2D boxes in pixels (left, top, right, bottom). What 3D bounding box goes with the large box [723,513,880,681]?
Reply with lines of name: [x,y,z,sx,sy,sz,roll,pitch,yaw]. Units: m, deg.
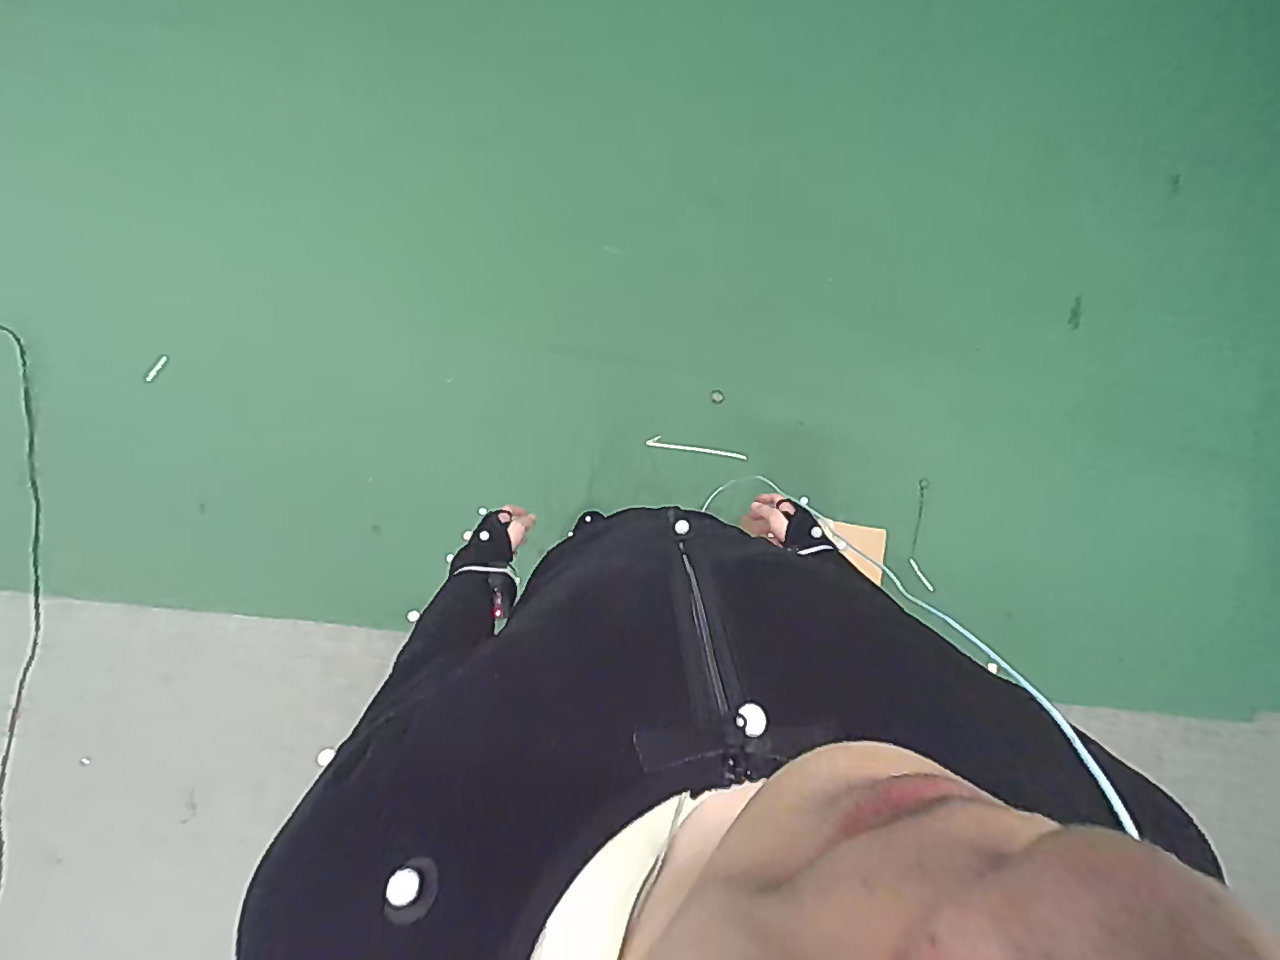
large box: [0.440,0.309,1.534,0.320,0.320,0.408,8,86,-4]
